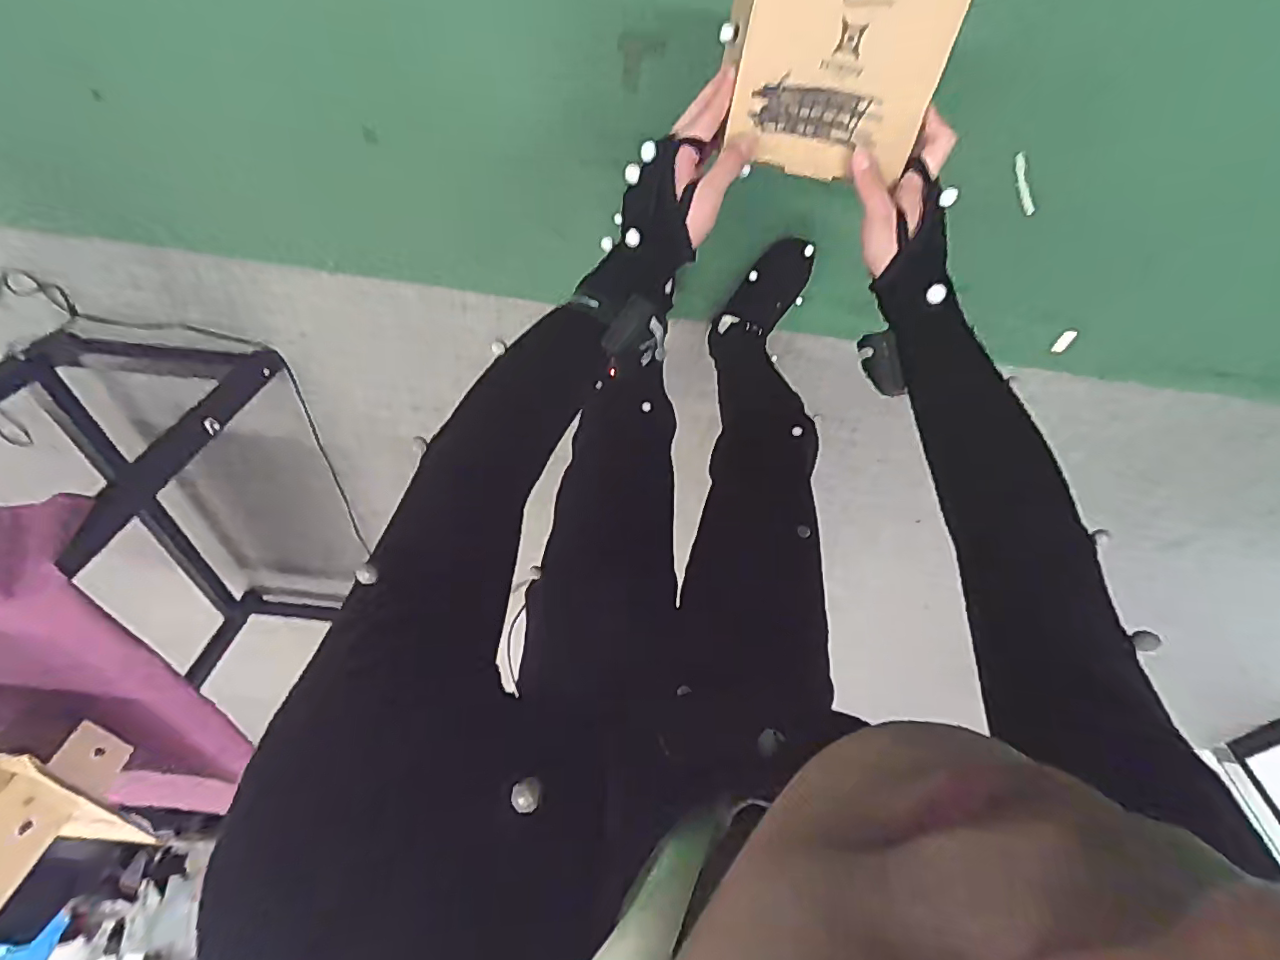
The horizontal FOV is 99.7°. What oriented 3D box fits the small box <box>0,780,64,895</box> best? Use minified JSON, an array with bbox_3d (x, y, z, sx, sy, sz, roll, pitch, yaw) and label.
[{"bbox_3d":[-1.115,0.591,0.862,0.179,0.176,0.168,4,131,0],"label":"small box"}]
